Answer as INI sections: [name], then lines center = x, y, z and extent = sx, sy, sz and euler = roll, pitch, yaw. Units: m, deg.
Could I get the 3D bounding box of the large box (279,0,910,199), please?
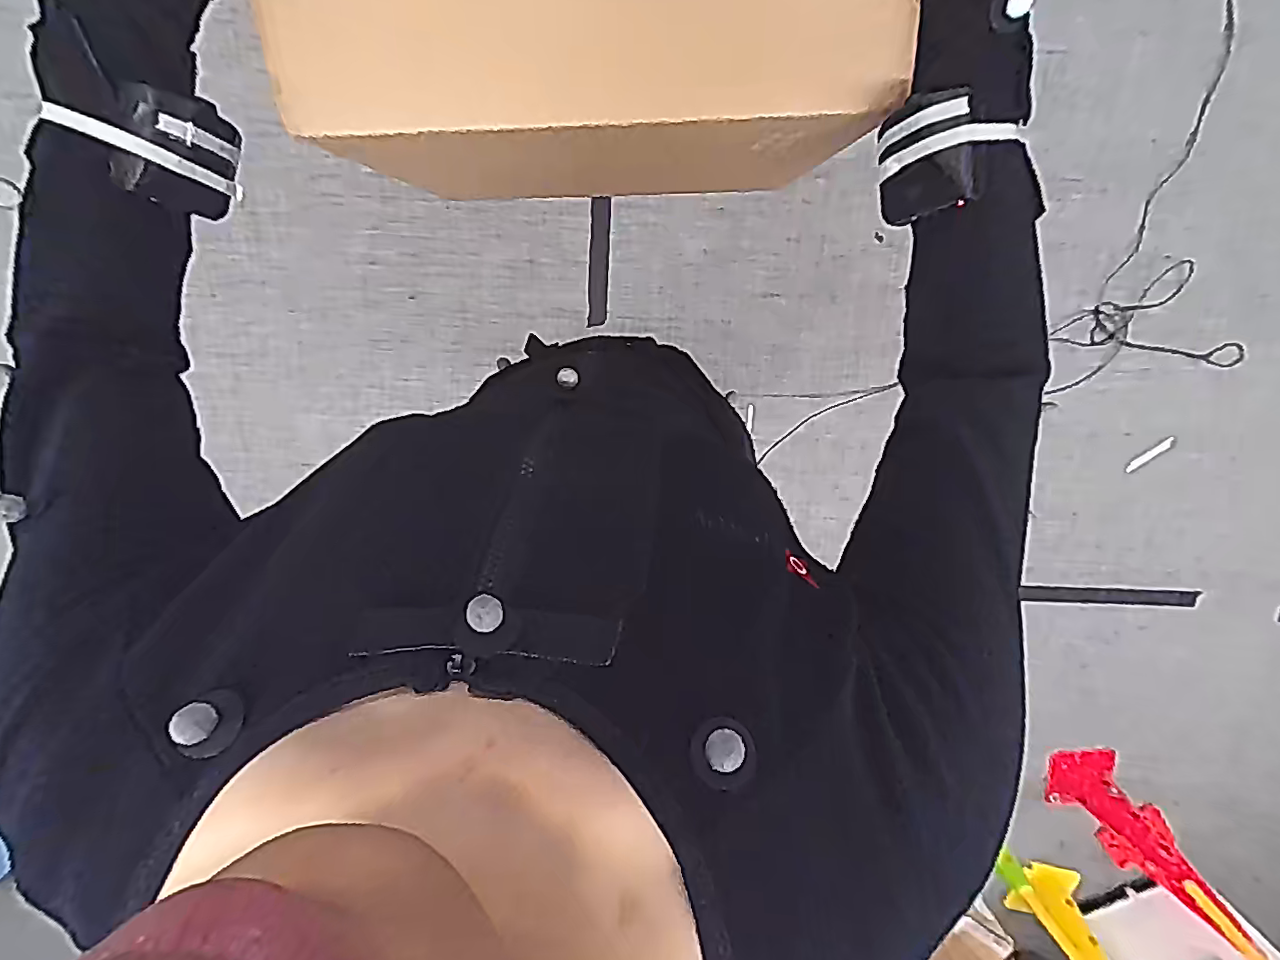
[large box]
center = -0.034, -0.436, 0.449
extent = 0.408, 0.320, 0.320
euler = -2, 110, 0
